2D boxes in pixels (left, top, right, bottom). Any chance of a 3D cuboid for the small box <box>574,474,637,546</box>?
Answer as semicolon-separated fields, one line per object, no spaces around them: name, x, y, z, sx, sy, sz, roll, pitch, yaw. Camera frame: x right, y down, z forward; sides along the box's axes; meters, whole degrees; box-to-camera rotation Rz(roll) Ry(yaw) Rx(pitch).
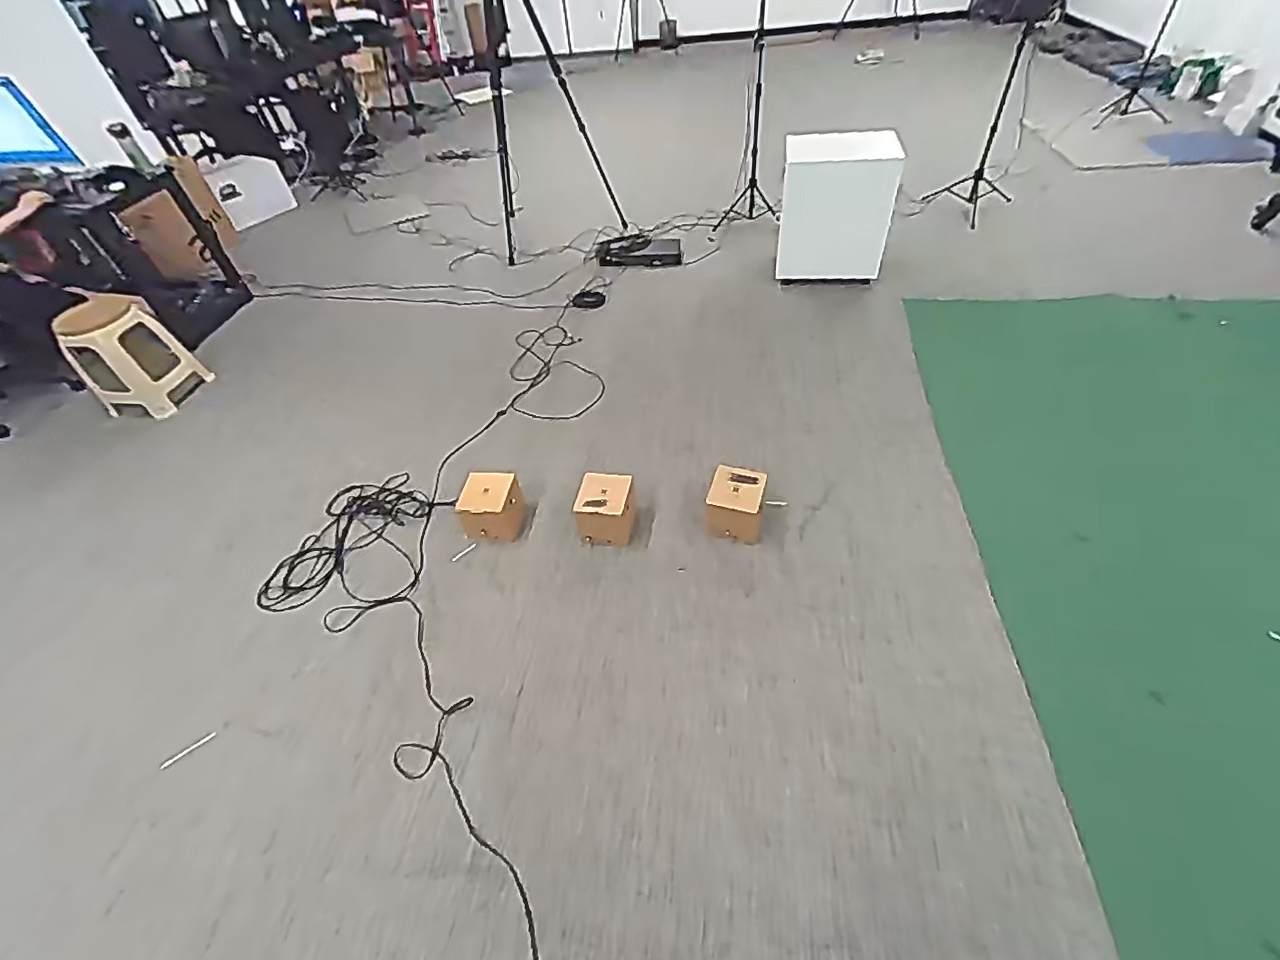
small box;-0.109;0.104;1.833;0.168;0.176;0.179;5;48;12

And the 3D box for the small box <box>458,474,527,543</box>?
small box;-0.508;0.099;1.891;0.168;0.176;0.179;1;48;9
